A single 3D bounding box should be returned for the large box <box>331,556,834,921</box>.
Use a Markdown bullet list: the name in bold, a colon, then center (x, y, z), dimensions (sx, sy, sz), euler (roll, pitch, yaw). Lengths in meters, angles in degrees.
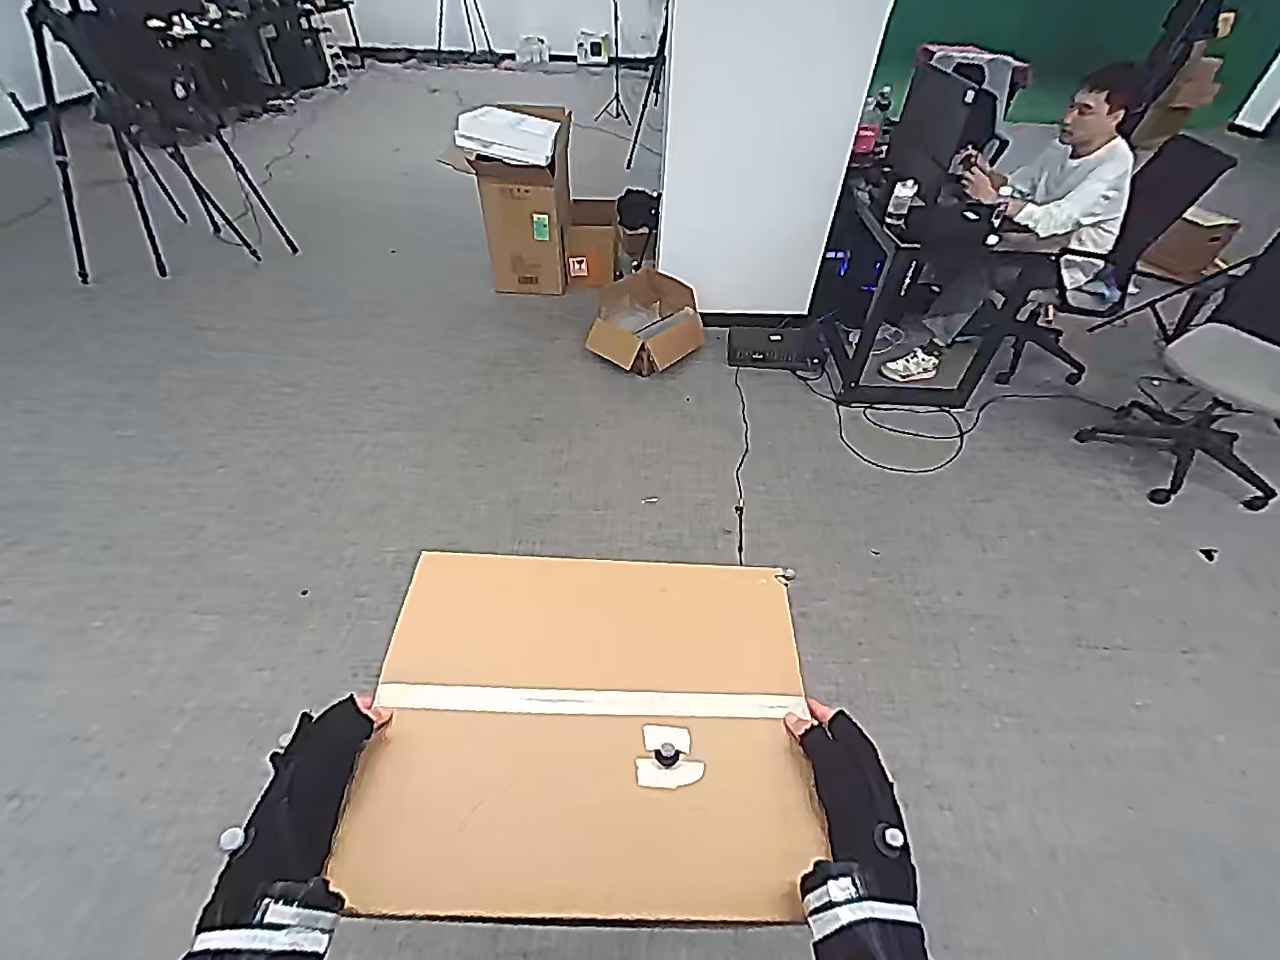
- **large box**: center (-0.052, 0.308, 0.629), dimensions (0.408, 0.320, 0.320), euler (4, 50, -3)
